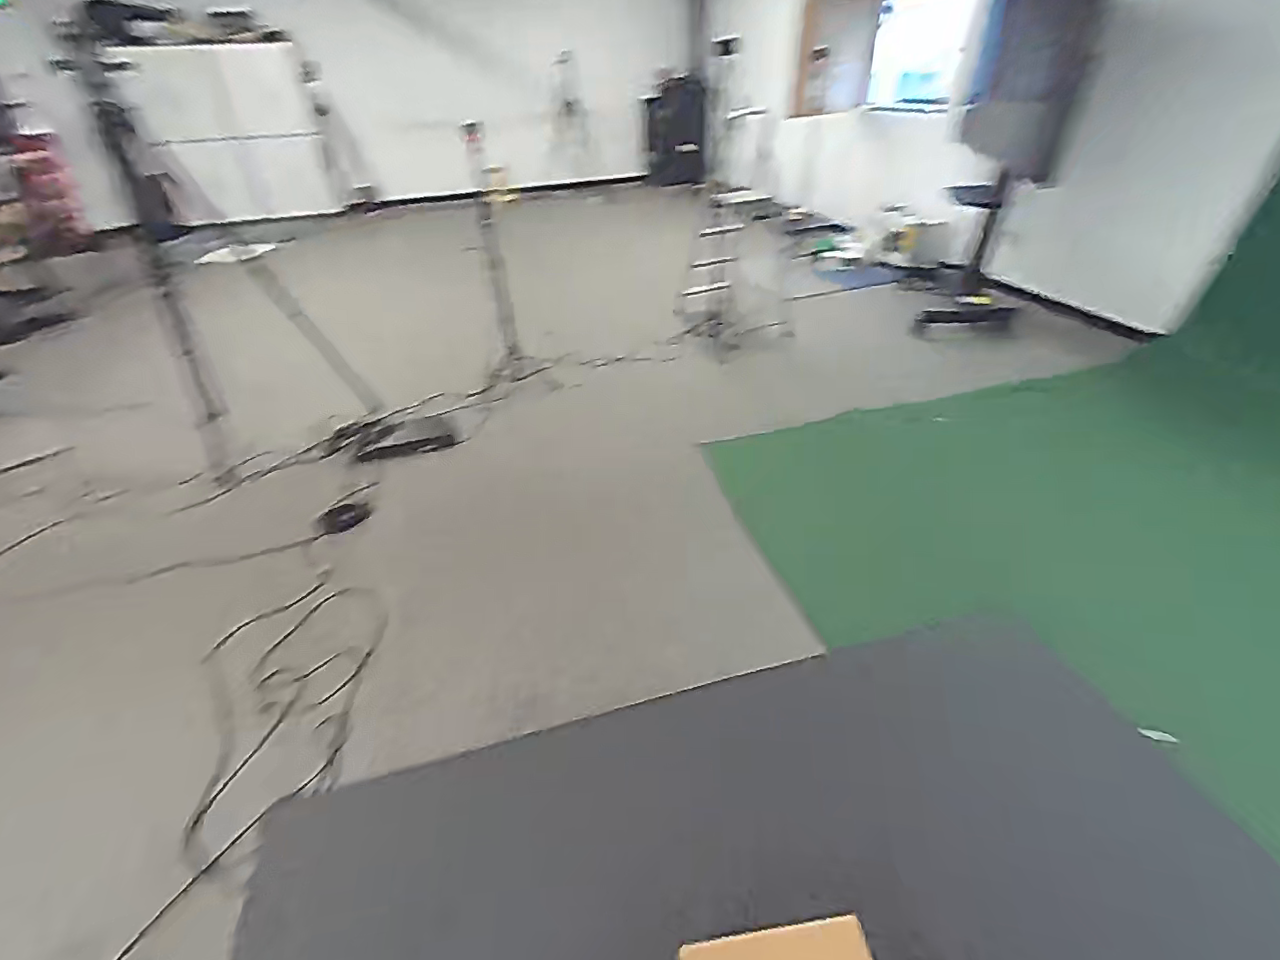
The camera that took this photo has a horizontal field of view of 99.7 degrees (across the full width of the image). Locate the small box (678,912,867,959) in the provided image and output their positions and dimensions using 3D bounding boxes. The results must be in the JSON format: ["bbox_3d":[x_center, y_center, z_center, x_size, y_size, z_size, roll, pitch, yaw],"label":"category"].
[{"bbox_3d":[0.125,0.517,0.466,0.168,0.176,0.179,-7,37,-3],"label":"small box"}]
